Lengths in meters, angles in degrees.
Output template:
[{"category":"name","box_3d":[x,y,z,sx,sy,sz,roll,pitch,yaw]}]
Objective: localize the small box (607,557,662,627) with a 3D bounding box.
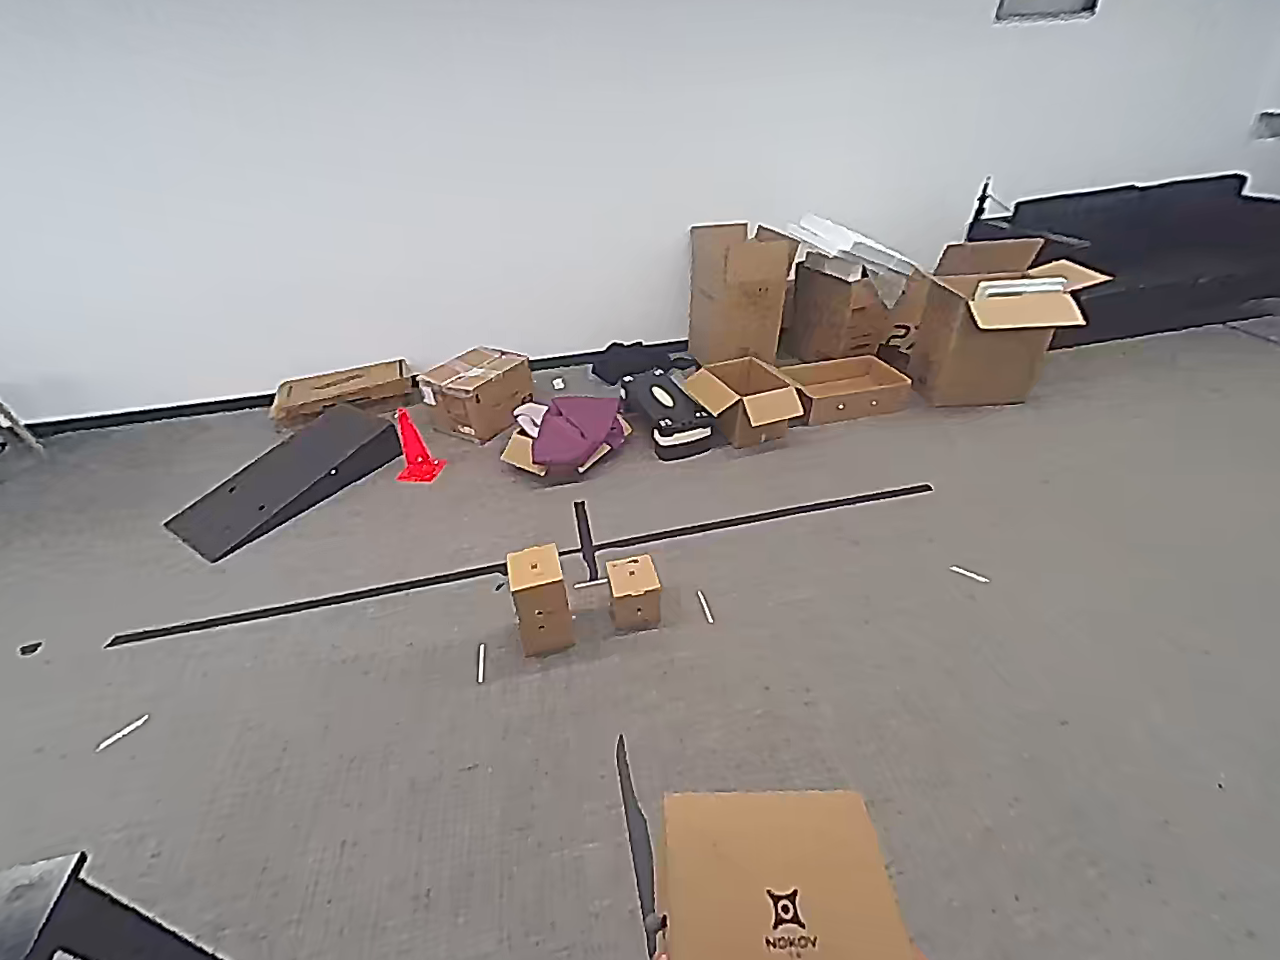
[{"category":"small box","box_3d":[-0.019,0.408,1.941,0.168,0.176,0.179,-10,36,-8]}]

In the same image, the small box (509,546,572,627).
[{"category":"small box","box_3d":[-0.326,0.348,1.769,0.168,0.176,0.179,-13,38,-11]}]

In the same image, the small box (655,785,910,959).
[{"category":"small box","box_3d":[0.099,0.372,0.433,0.168,0.176,0.179,-1,39,-2]}]

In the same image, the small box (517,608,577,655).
[{"category":"small box","box_3d":[-0.322,0.478,1.865,0.179,0.176,0.168,-10,36,-10]}]
